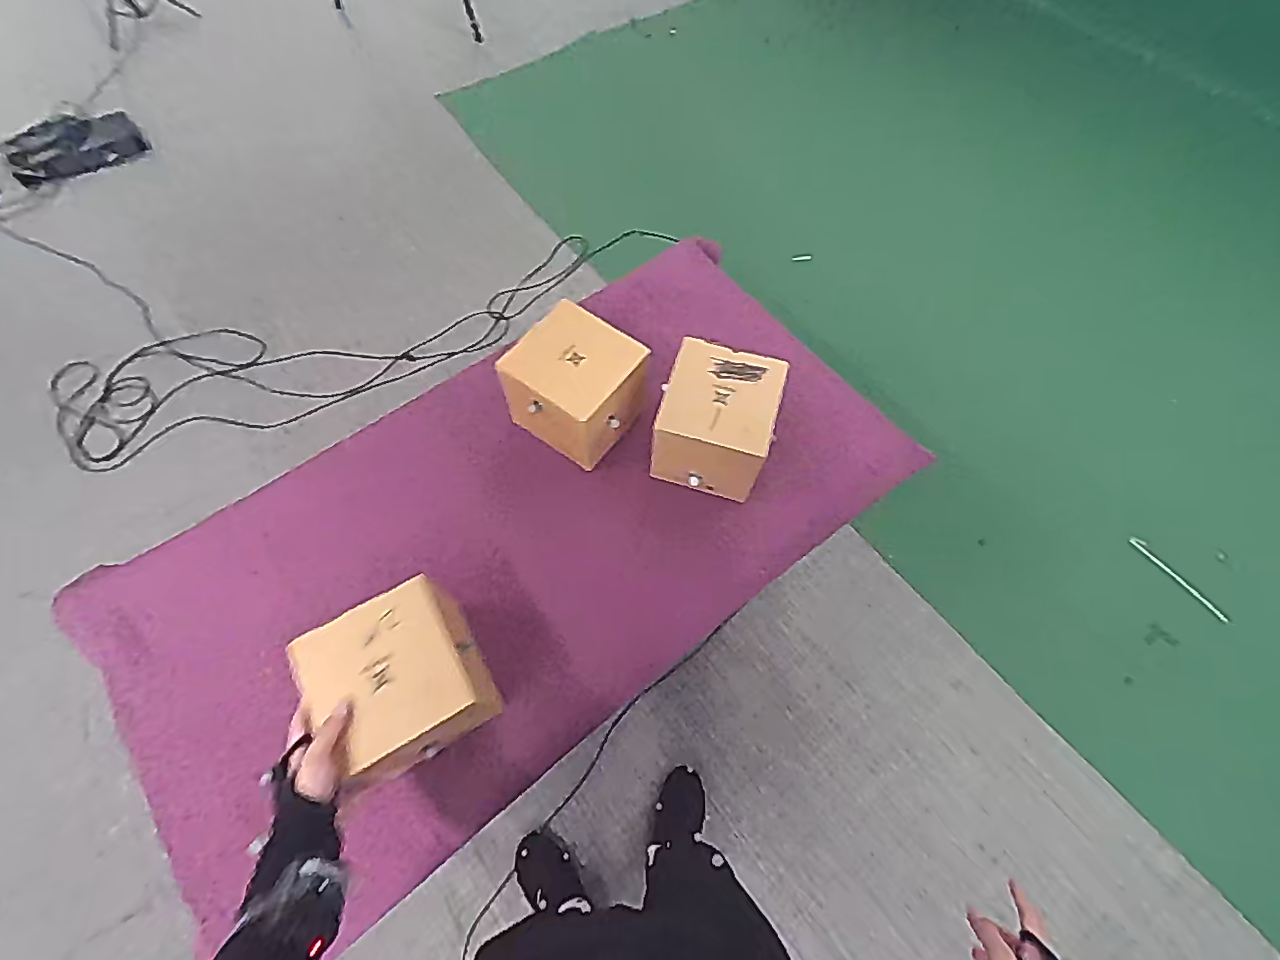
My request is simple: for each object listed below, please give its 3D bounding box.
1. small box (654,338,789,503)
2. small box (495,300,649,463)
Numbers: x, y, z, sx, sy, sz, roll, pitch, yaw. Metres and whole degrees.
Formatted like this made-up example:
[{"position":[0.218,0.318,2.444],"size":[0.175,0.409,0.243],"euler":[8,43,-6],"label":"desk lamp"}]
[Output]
[{"position":[0.121,-0.089,0.862],"size":[0.168,0.176,0.179],"euler":[16,67,7],"label":"small box"},{"position":[-0.103,-0.151,0.887],"size":[0.179,0.176,0.168],"euler":[34,69,14],"label":"small box"}]
